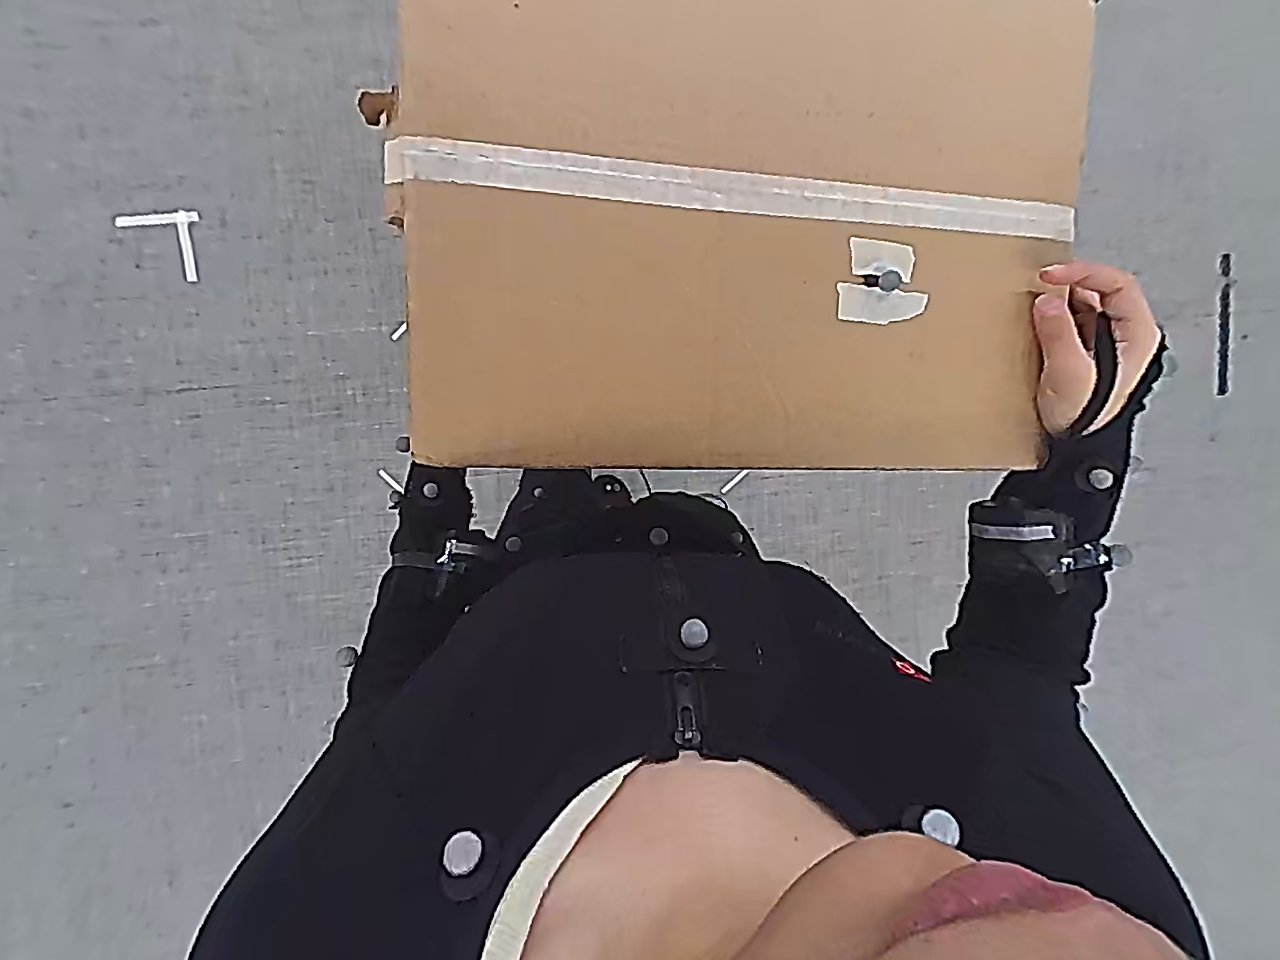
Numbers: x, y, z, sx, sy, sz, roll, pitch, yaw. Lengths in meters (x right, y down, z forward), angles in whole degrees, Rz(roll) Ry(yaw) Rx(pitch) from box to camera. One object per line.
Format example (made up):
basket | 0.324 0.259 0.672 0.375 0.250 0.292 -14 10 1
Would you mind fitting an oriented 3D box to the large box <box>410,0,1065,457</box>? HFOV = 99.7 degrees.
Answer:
large box | 0.046 -0.187 0.465 0.408 0.320 0.320 0 97 -12
